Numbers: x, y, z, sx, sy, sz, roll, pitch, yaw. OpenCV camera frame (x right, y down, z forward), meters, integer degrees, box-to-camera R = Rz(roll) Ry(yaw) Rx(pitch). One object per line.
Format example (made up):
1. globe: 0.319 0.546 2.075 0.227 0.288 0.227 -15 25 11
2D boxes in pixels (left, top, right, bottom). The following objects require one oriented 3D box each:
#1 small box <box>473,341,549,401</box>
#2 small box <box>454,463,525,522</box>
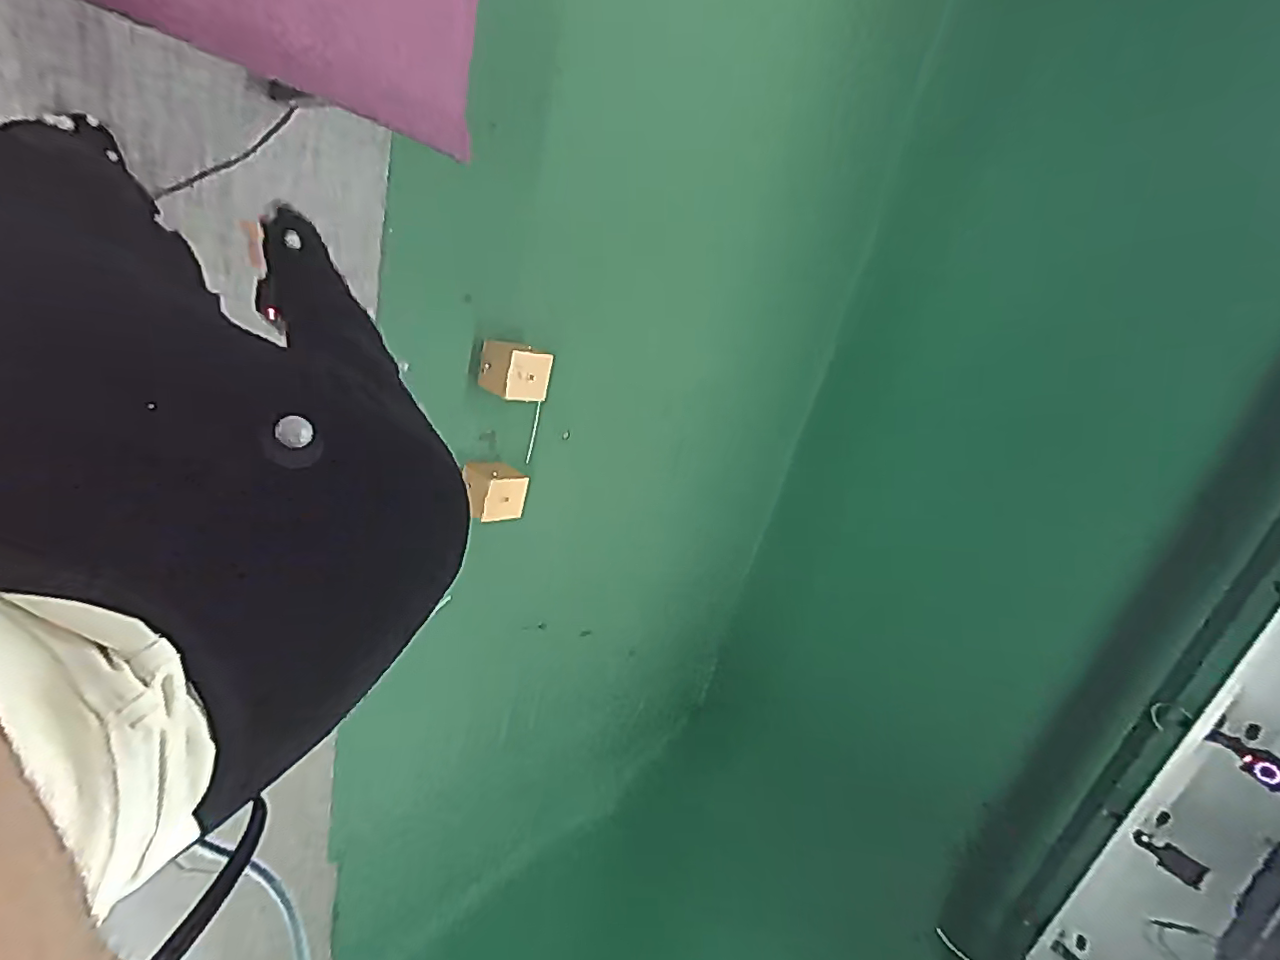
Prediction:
1. small box: -0.450 -0.379 1.882 0.179 0.176 0.168 -7 117 -50
2. small box: -0.564 0.041 2.021 0.179 0.176 0.168 -5 117 -49
